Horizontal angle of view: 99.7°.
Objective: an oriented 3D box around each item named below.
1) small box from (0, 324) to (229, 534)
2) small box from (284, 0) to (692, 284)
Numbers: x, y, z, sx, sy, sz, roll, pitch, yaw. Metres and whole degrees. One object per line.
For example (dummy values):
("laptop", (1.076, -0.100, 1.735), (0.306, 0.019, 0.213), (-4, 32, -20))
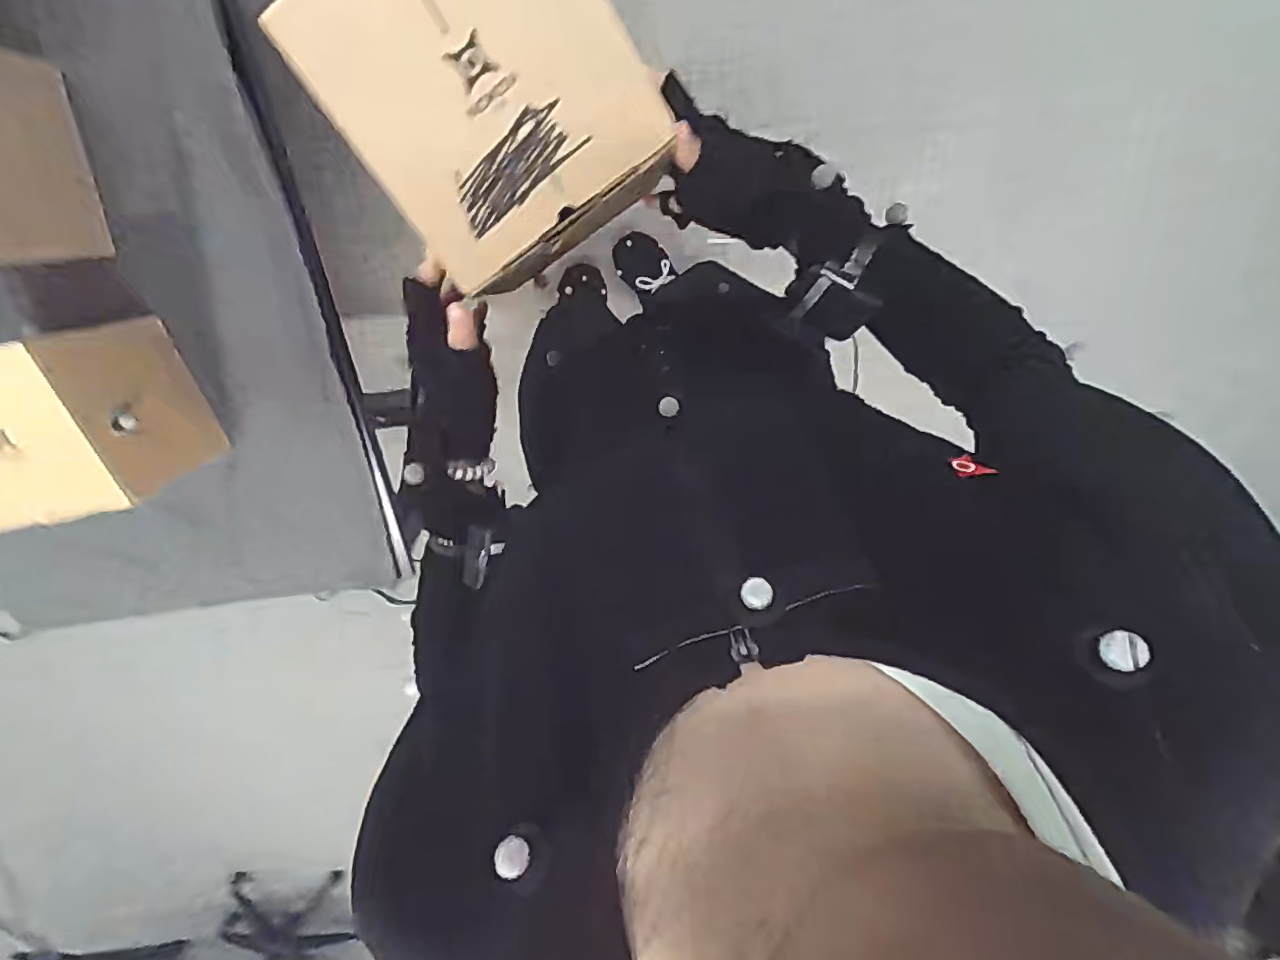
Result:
("small box", (-0.622, -0.067, 0.601), (0.168, 0.176, 0.179), (-11, 116, 2))
("small box", (-0.083, -0.259, 0.379), (0.168, 0.176, 0.179), (-31, 107, 7))
